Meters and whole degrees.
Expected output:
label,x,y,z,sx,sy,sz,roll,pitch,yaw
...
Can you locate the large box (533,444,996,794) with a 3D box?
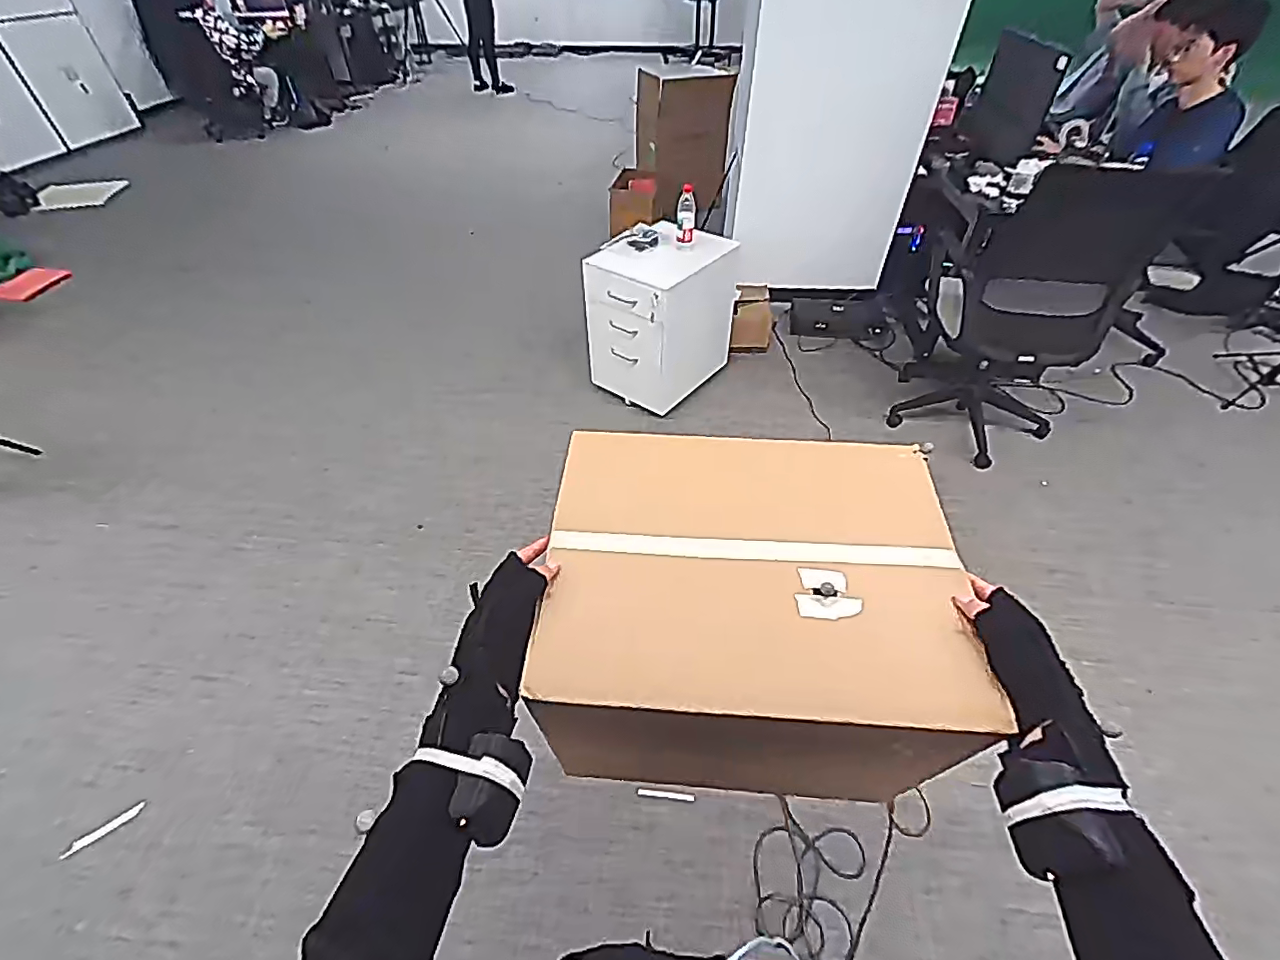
label,x,y,z,sx,sy,sz,roll,pitch,yaw
large box,0.112,0.175,0.668,0.408,0.320,0.320,3,51,3
